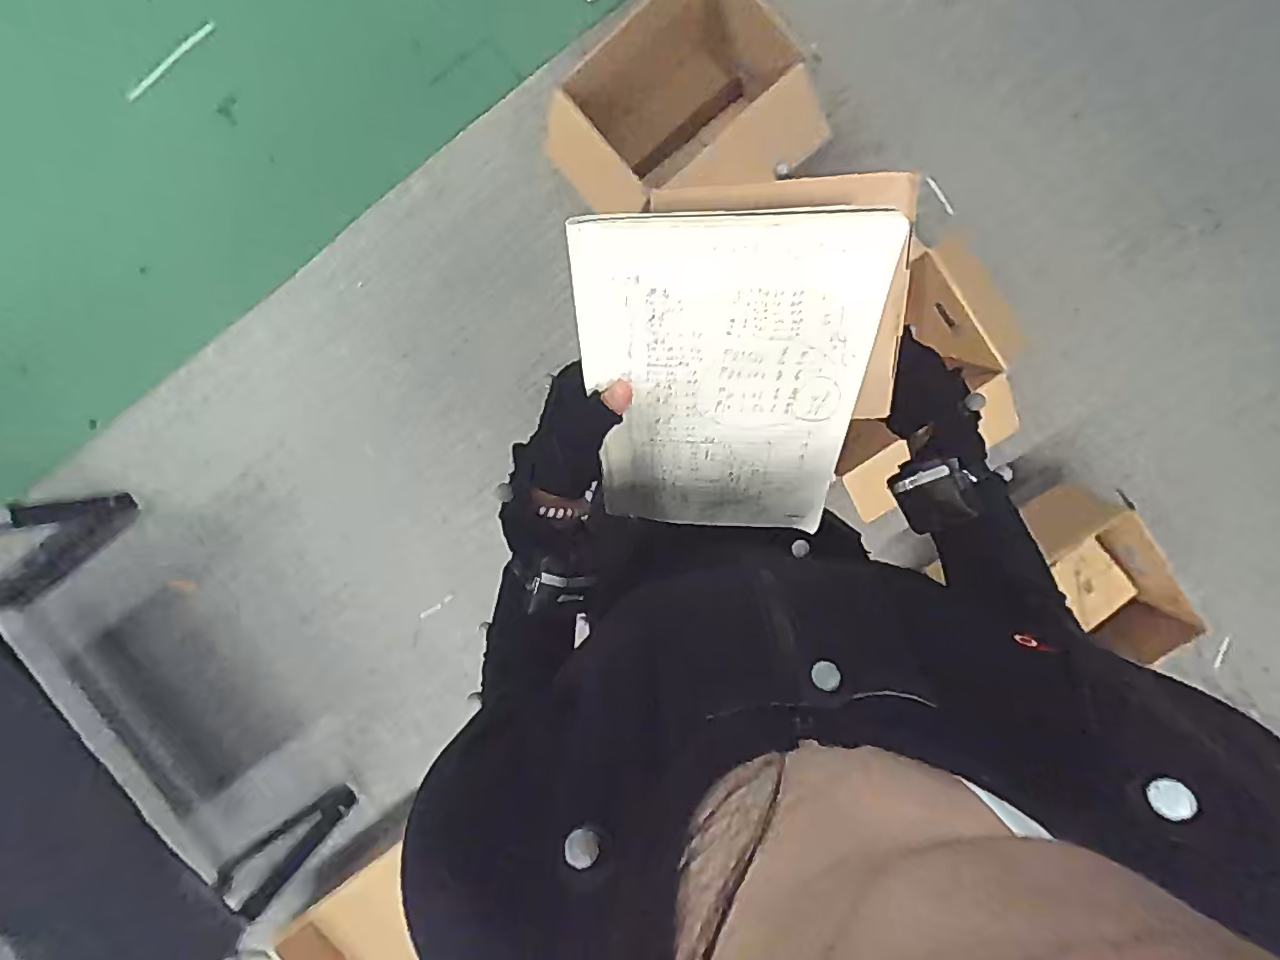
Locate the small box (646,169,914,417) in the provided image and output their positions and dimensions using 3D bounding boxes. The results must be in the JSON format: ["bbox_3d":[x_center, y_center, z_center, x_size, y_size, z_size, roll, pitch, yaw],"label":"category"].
[{"bbox_3d":[0.100,-0.154,0.455,0.179,0.176,0.168,0,111,6],"label":"small box"}]
